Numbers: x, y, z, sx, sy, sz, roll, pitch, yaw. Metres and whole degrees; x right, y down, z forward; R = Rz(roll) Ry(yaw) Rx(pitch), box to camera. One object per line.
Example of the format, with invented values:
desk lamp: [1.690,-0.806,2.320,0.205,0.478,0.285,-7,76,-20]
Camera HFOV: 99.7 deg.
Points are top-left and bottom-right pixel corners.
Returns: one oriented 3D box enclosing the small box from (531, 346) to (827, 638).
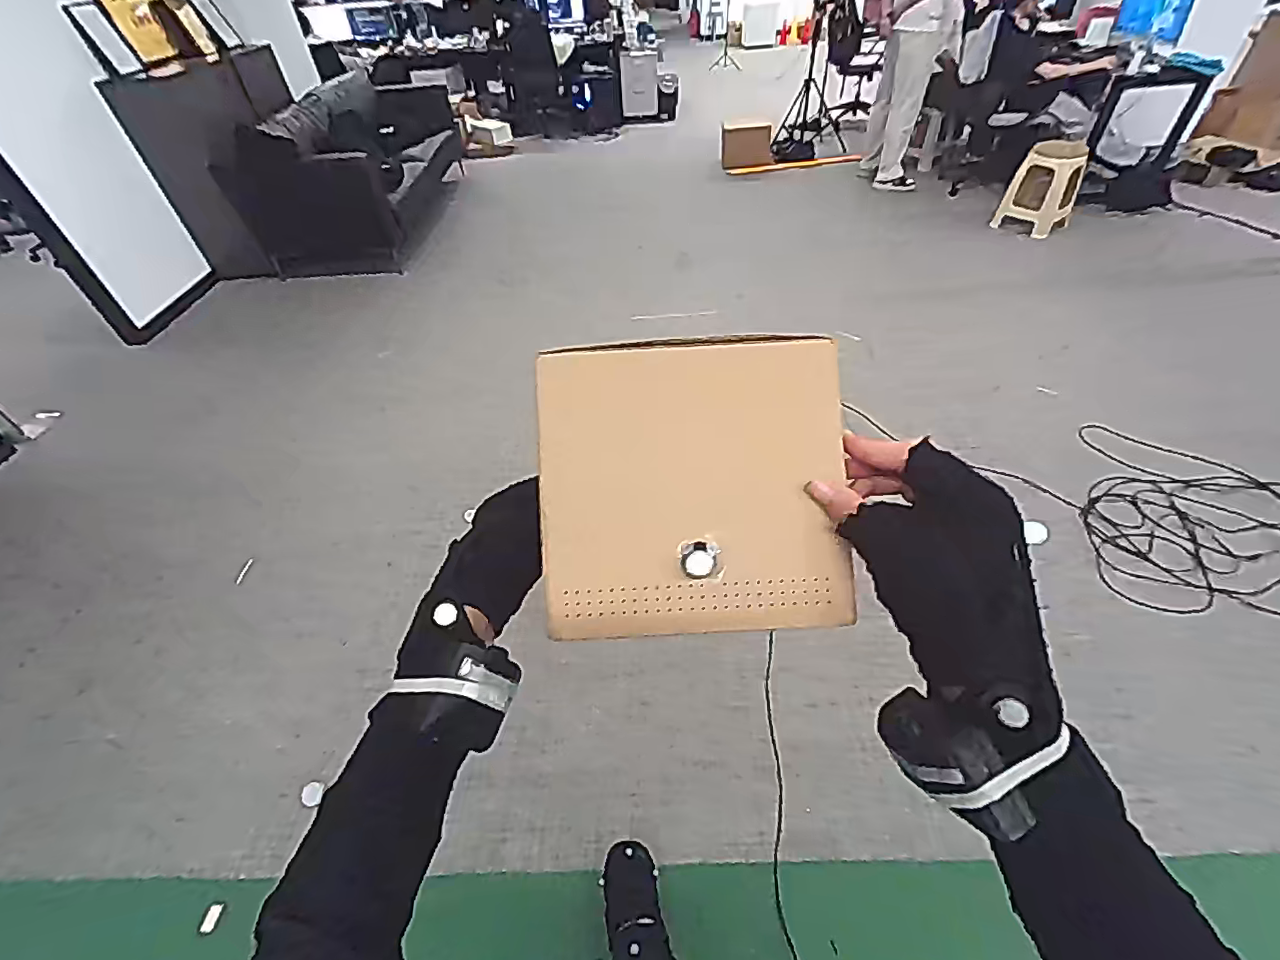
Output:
small box: [0.028,0.011,0.394,0.179,0.168,0.176,-3,87,1]
